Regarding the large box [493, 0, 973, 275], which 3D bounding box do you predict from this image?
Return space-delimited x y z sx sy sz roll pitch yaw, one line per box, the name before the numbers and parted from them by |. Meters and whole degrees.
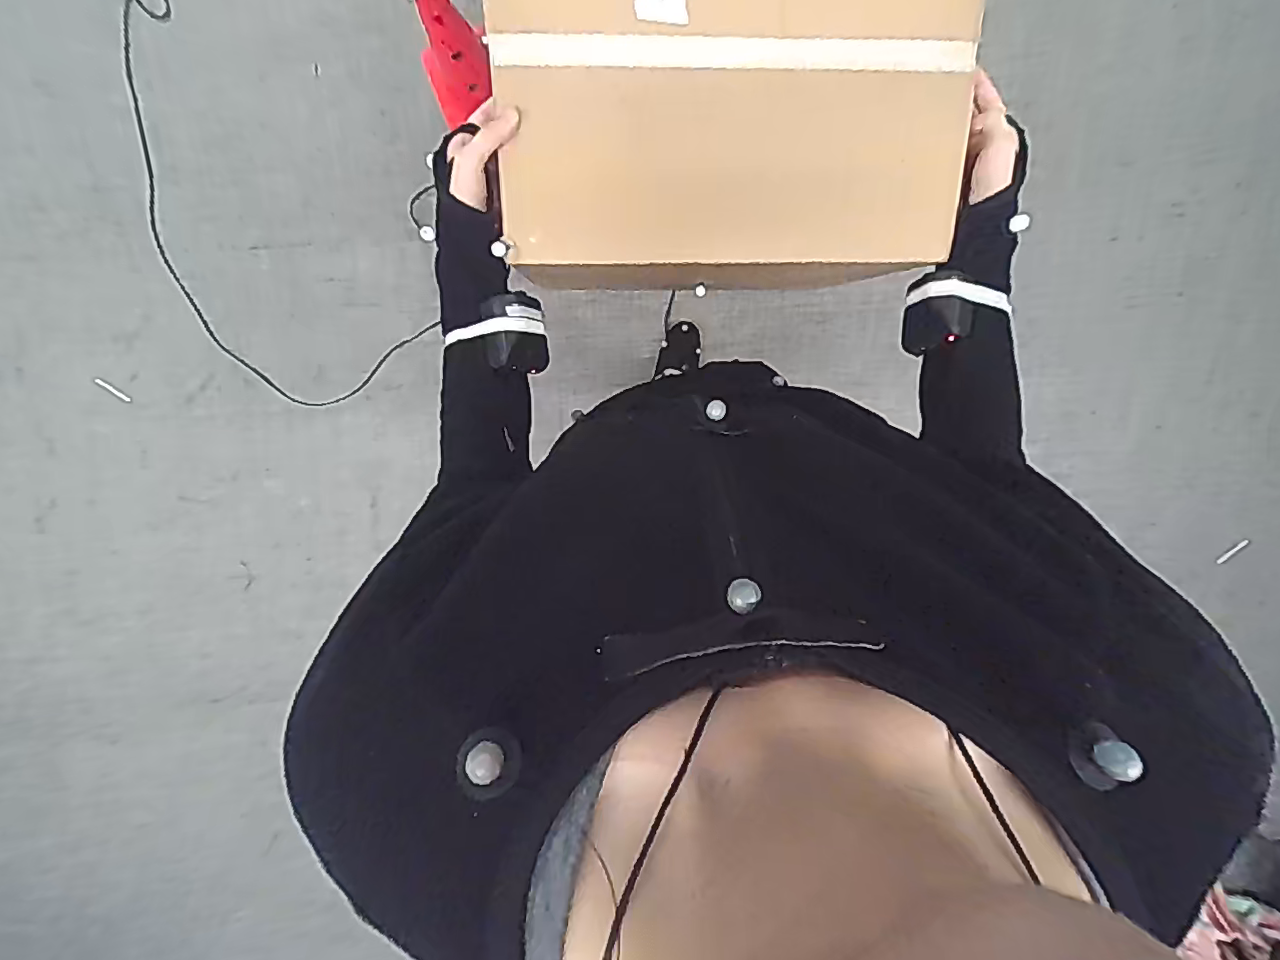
large box | 0.074 -0.403 0.595 0.408 0.320 0.320 -2 106 -3
